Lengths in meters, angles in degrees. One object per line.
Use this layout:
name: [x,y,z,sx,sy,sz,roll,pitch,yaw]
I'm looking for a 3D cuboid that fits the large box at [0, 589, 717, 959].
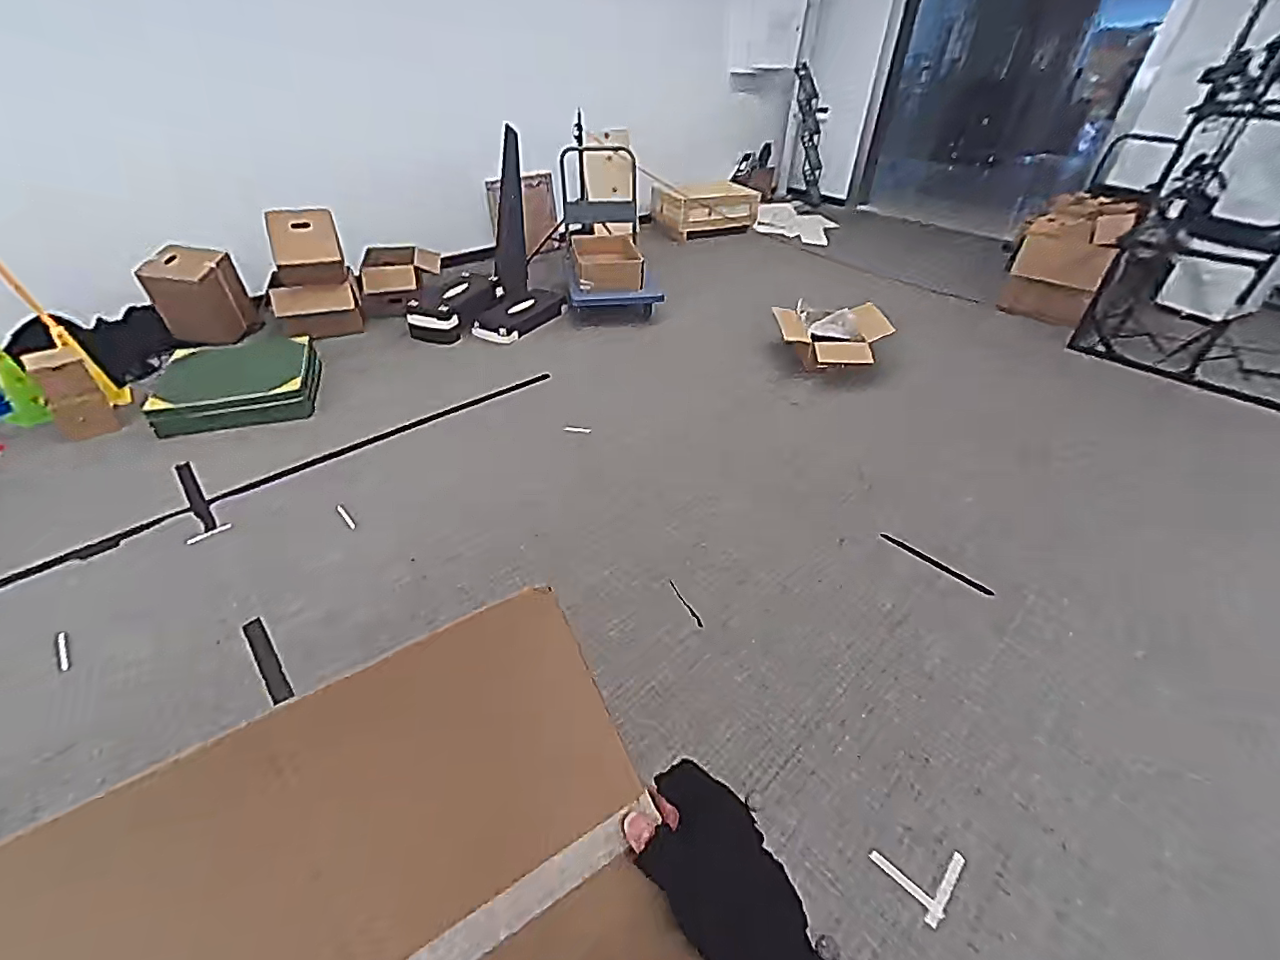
large box: [-0.211,0.323,0.407,0.408,0.320,0.320,-24,84,-23]
